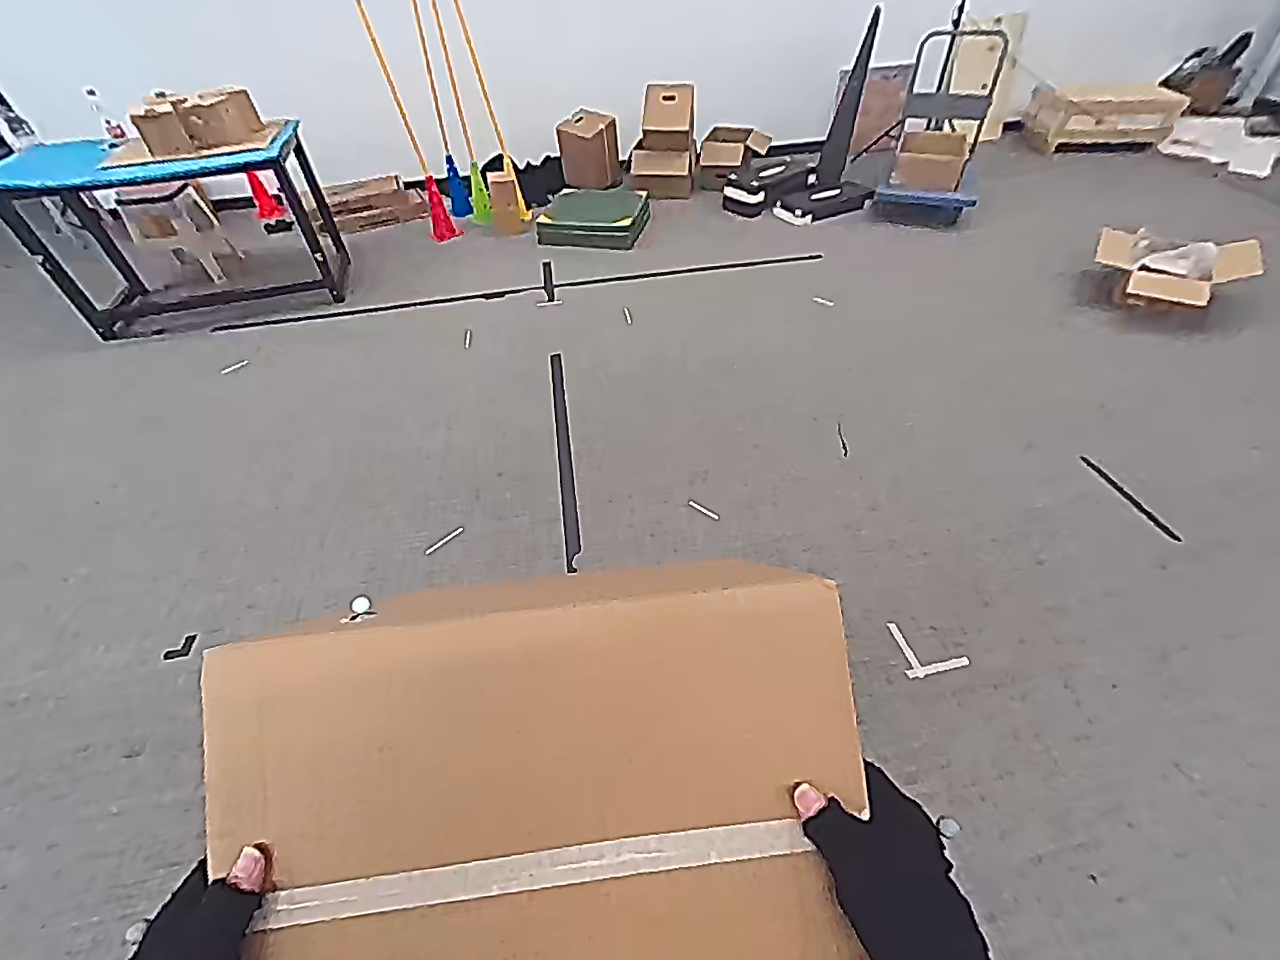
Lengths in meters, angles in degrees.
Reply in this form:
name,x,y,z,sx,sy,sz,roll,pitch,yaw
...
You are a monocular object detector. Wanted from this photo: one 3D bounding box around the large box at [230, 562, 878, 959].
name,x,y,z,sx,sy,sz,roll,pitch,yaw
large box,-0.060,0.255,0.492,0.408,0.320,0.320,-6,86,-2
